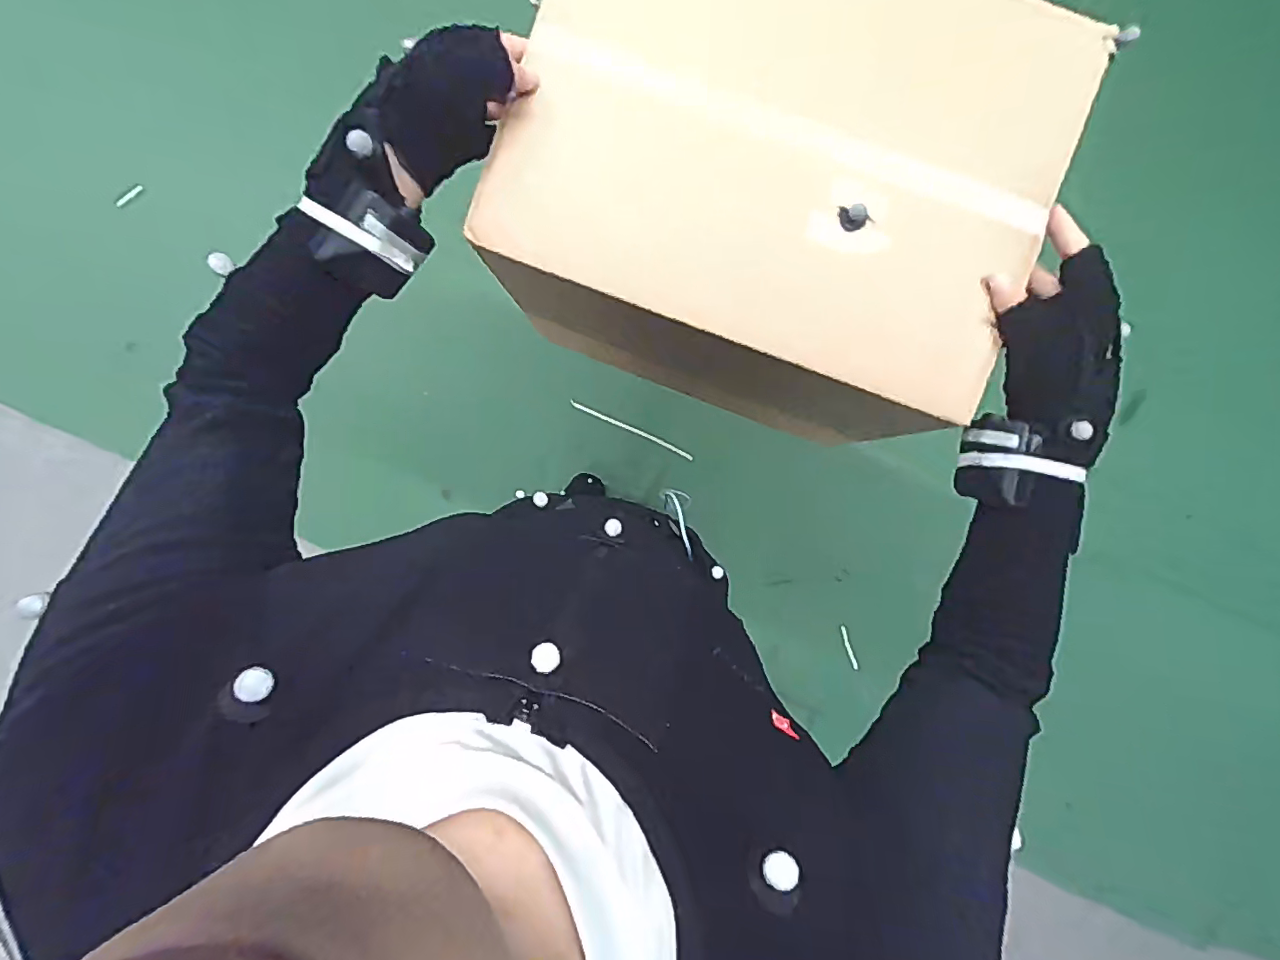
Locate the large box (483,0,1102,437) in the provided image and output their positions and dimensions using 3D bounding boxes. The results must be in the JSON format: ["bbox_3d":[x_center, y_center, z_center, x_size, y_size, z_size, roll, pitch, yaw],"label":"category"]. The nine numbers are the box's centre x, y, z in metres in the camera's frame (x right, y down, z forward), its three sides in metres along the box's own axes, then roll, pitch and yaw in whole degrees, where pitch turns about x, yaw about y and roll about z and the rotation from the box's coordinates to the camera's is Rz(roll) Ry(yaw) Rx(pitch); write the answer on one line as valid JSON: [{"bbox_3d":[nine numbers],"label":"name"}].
[{"bbox_3d":[0.114,-0.263,0.560,0.408,0.320,0.320,21,92,1],"label":"large box"}]
